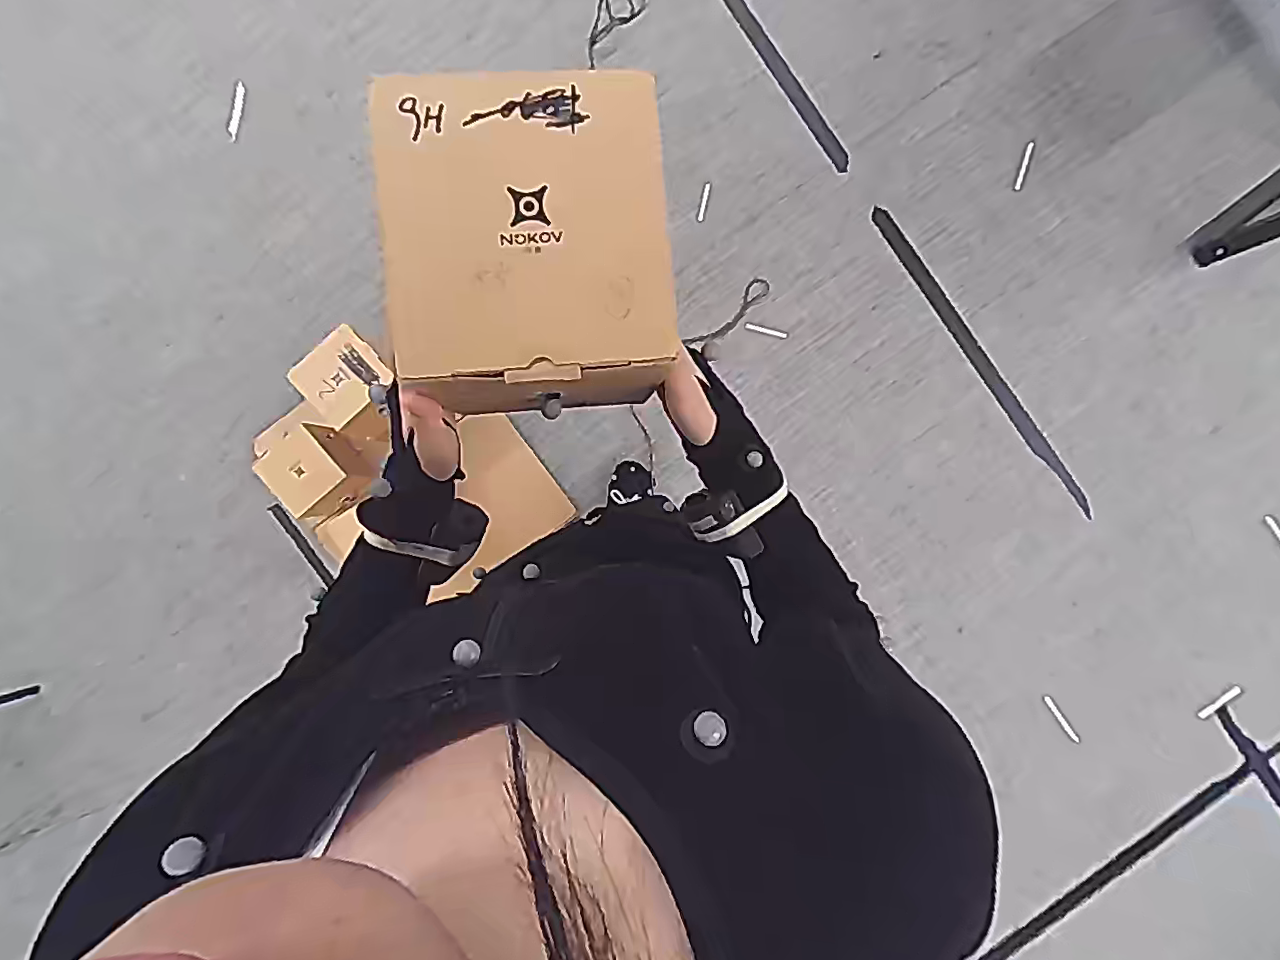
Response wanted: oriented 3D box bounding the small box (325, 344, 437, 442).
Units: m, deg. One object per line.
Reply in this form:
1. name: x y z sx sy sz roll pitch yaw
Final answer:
1. small box: -0.650 -0.215 1.390 0.179 0.176 0.168 -41 91 -1

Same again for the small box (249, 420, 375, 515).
1. small box: -0.830 -0.028 1.385 0.168 0.176 0.179 -42 90 1

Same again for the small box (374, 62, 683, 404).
1. small box: -0.068 -0.150 0.387 0.168 0.176 0.179 -5 91 -6

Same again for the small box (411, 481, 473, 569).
1. small box: -0.562 0.118 1.389 0.168 0.176 0.179 -33 92 -1

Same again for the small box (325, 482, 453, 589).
1. small box: -0.558 0.120 1.224 0.168 0.176 0.179 -32 92 -1
